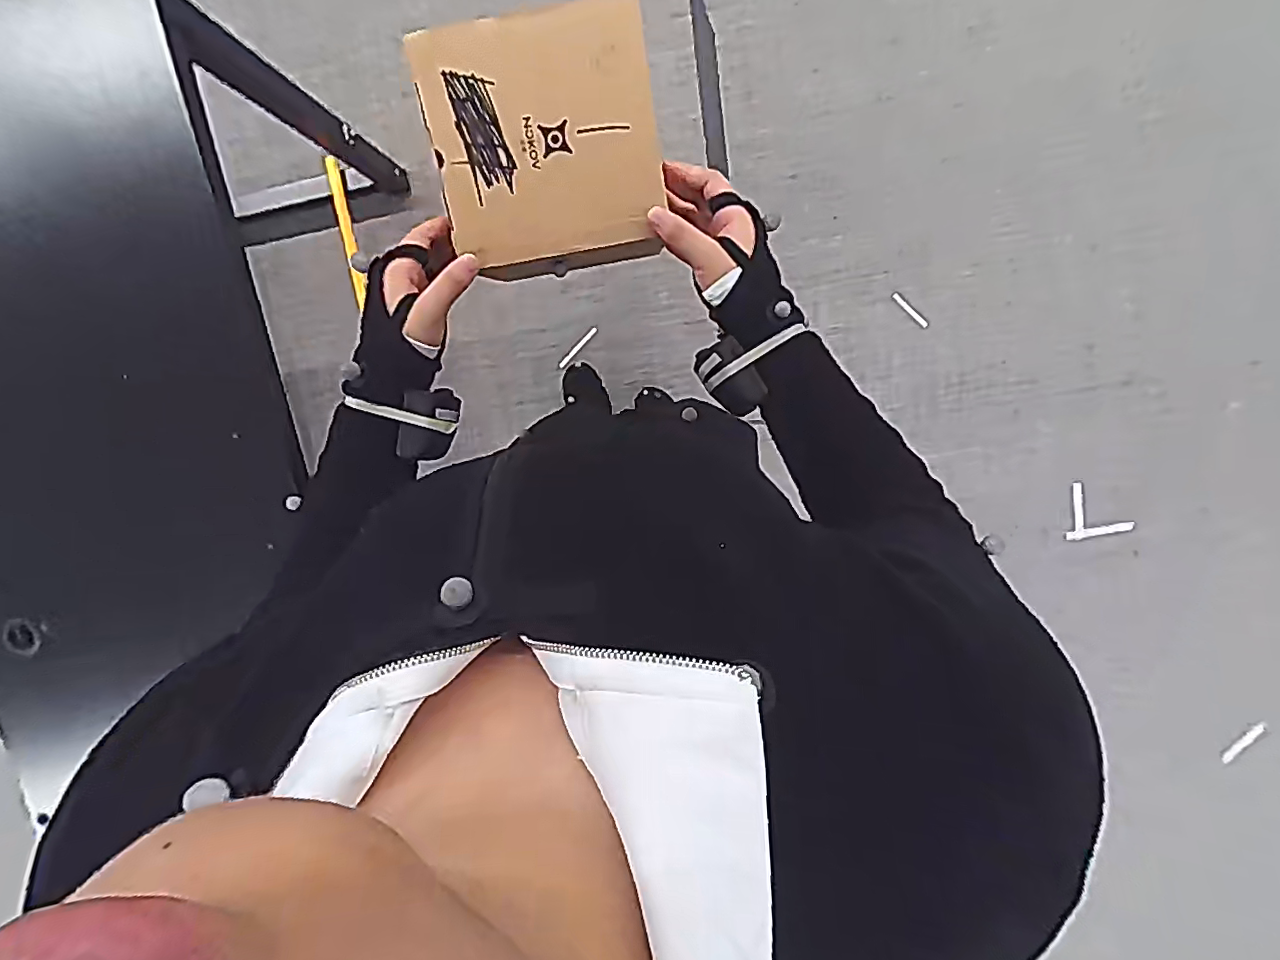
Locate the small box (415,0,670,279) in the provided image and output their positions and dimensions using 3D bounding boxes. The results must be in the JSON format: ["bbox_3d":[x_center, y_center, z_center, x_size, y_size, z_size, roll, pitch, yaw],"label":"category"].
[{"bbox_3d":[-0.073,-0.287,0.498,0.179,0.176,0.168,-9,108,1],"label":"small box"}]
